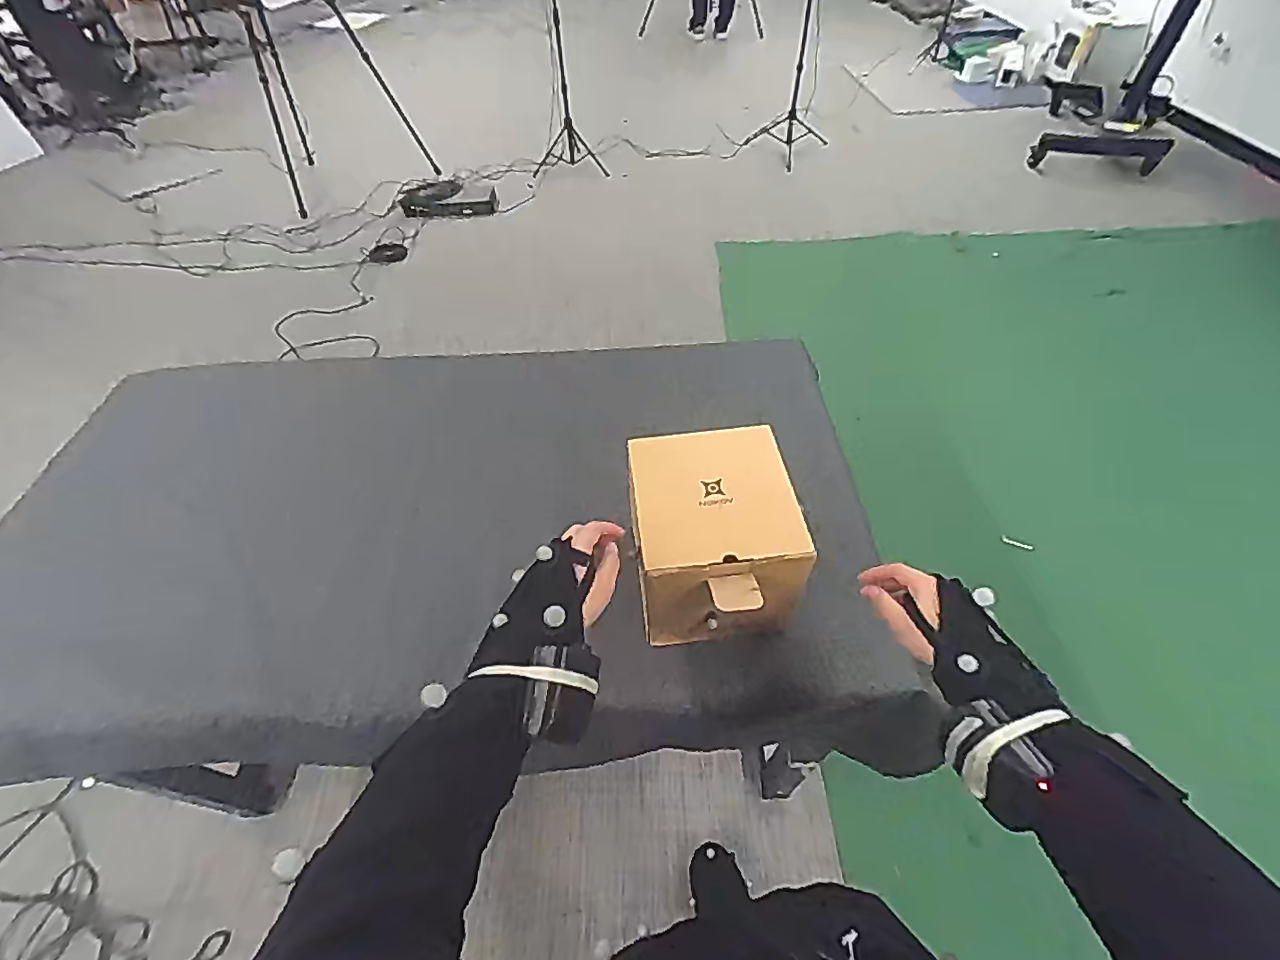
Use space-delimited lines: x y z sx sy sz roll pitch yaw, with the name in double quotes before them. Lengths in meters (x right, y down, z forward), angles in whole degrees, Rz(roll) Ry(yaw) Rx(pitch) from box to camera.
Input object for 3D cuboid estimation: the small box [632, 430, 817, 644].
"small box" 0.080 0.066 0.620 0.168 0.176 0.179 -6 51 -2
